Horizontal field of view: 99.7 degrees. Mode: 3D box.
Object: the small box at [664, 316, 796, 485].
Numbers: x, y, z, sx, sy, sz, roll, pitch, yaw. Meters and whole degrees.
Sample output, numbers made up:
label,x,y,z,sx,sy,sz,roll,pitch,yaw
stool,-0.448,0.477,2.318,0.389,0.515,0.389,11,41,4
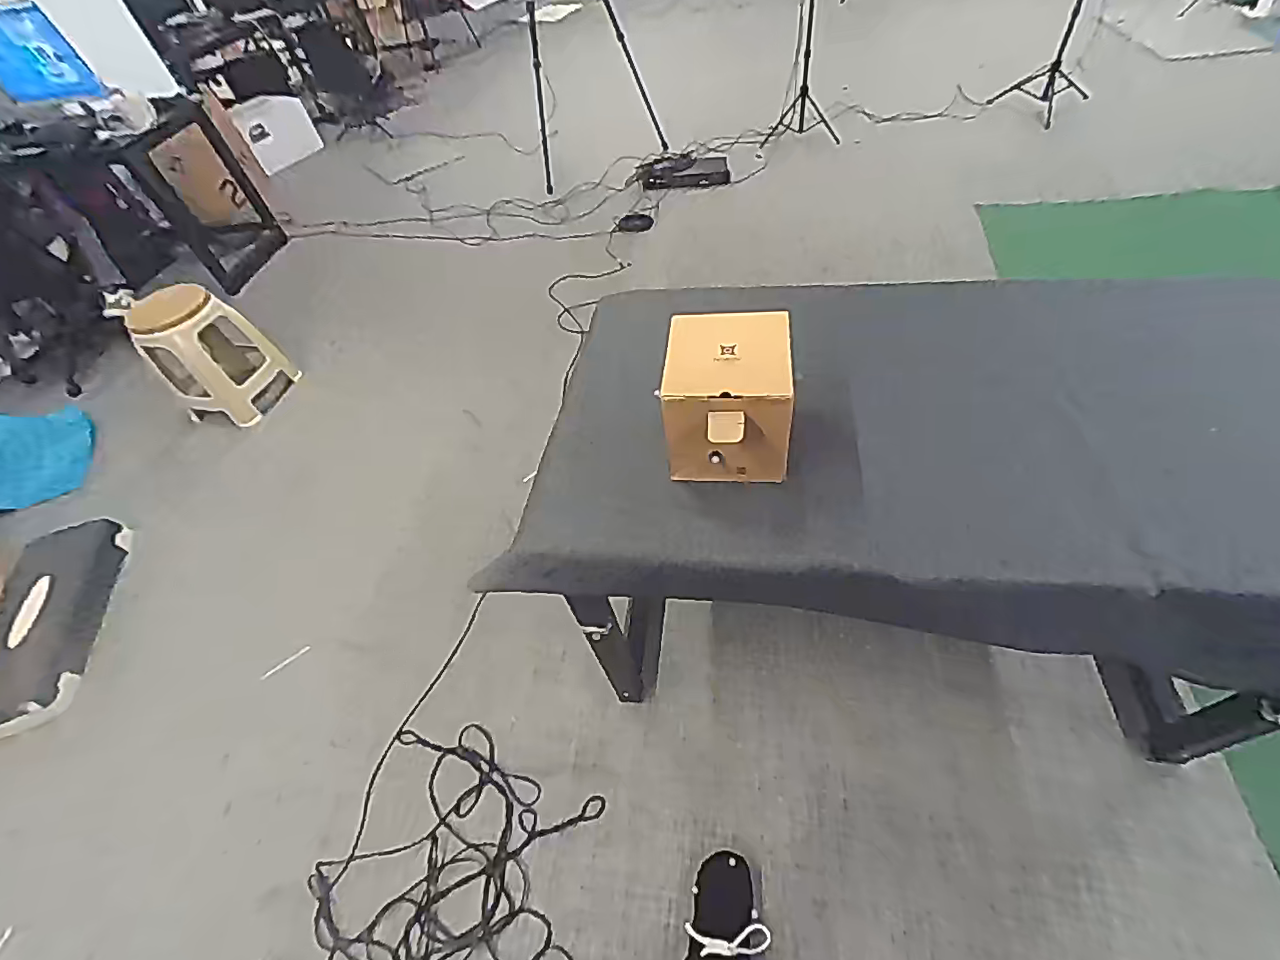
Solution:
label,x,y,z,sx,sy,sz,roll,pitch,yaw
small box,0.129,-0.115,0.778,0.168,0.176,0.179,1,52,10
